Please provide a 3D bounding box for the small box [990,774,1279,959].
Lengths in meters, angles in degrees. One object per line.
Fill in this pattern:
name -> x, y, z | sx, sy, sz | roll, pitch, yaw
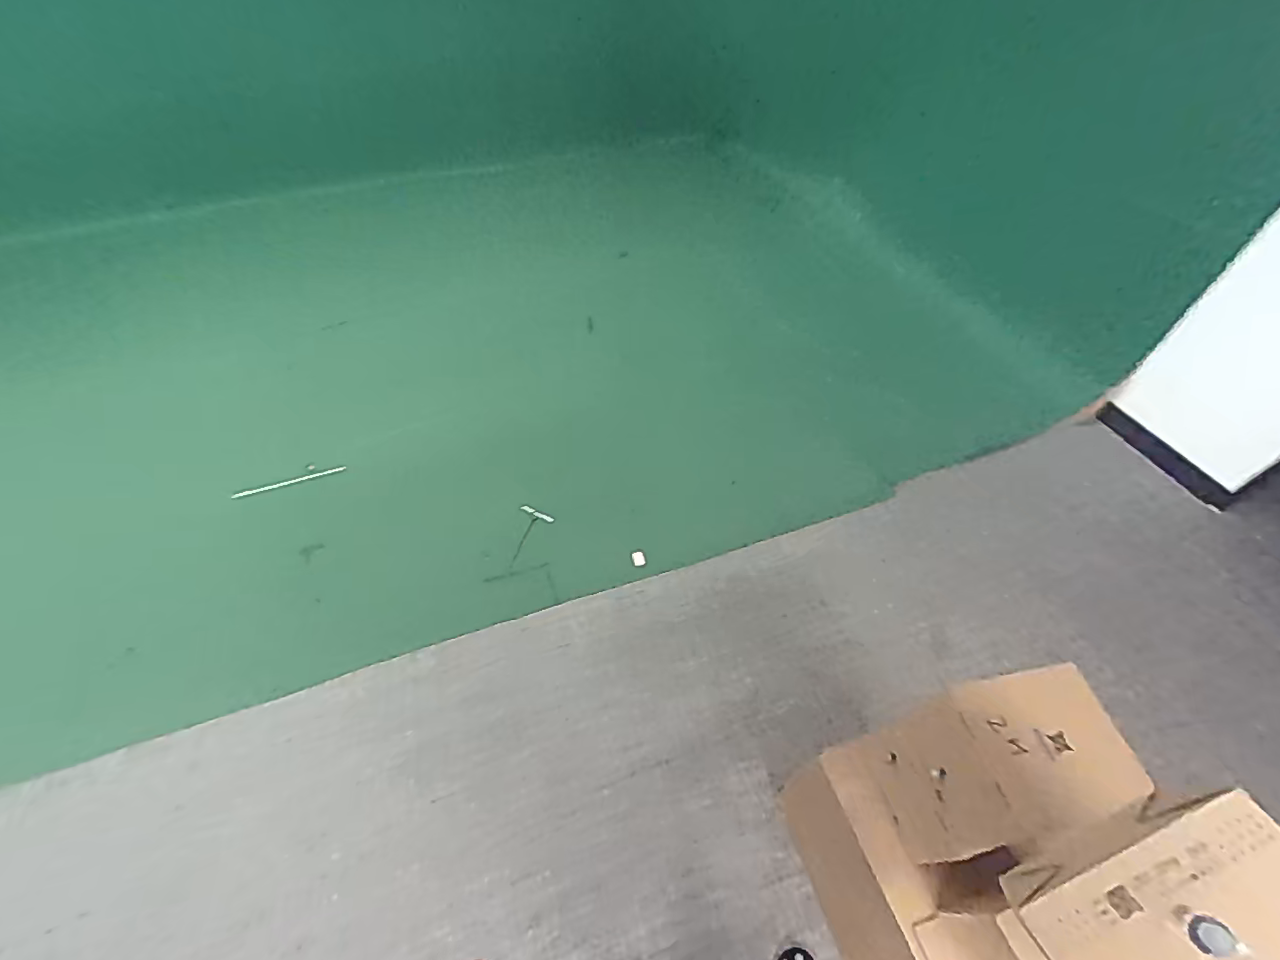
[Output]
small box -> 0.381, 0.330, 0.378 | 0.168, 0.179, 0.176 | -38, 51, 6

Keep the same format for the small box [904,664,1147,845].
small box -> 0.484, 0.358, 0.702 | 0.179, 0.176, 0.168 | -9, 53, -5
